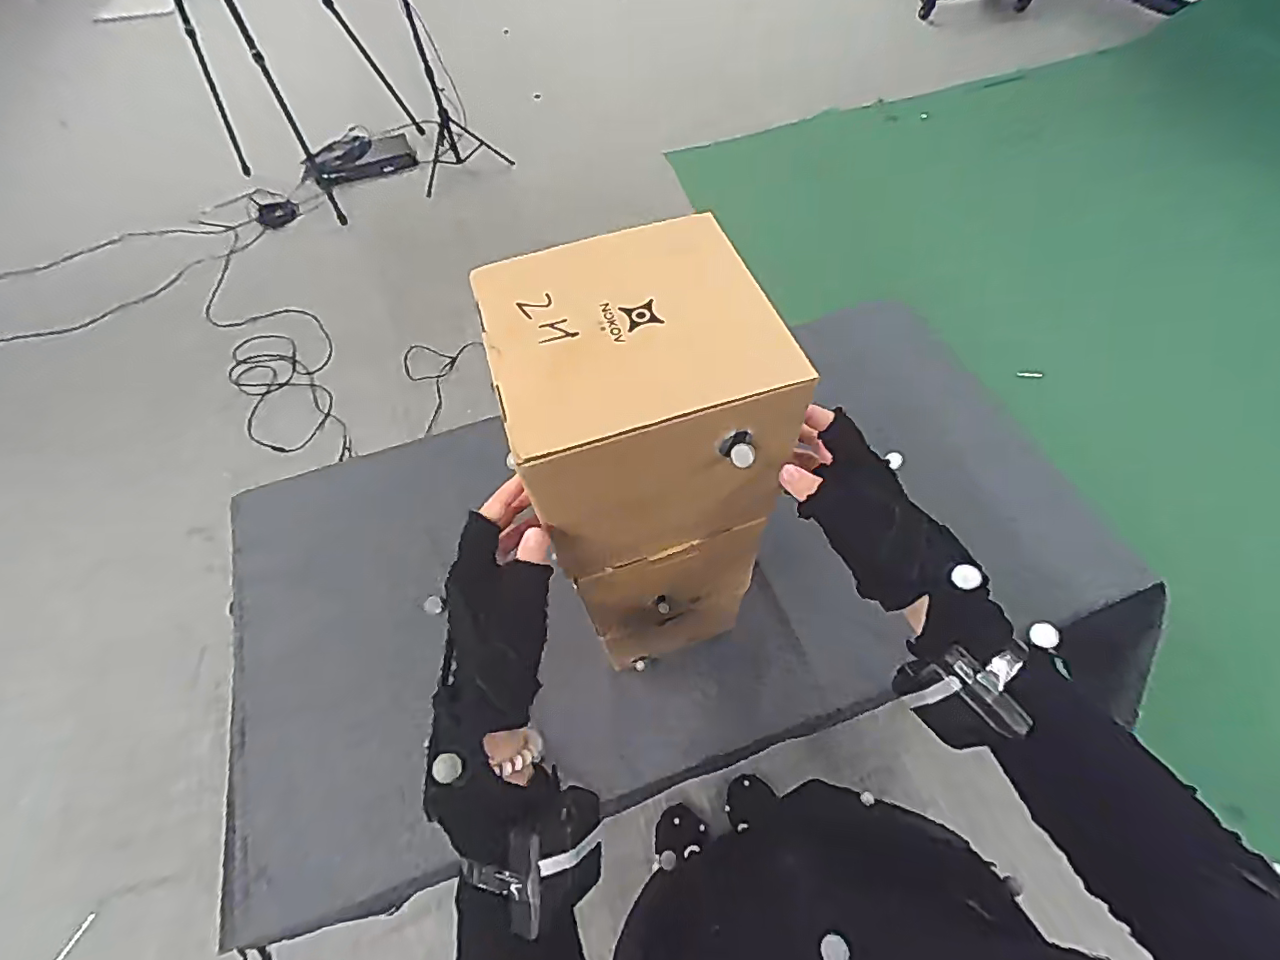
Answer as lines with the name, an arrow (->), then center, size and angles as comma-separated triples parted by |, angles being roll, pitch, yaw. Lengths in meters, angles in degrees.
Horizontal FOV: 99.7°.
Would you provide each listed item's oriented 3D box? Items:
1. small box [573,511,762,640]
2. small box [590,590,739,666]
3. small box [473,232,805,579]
small box -> 0.002, 0.037, 0.549 | 0.168, 0.176, 0.179 | -18, 59, -7
small box -> 0.013, 0.121, 0.688 | 0.168, 0.176, 0.179 | -19, 58, -7
small box -> -0.006, -0.048, 0.408 | 0.179, 0.176, 0.168 | -17, 59, -6
